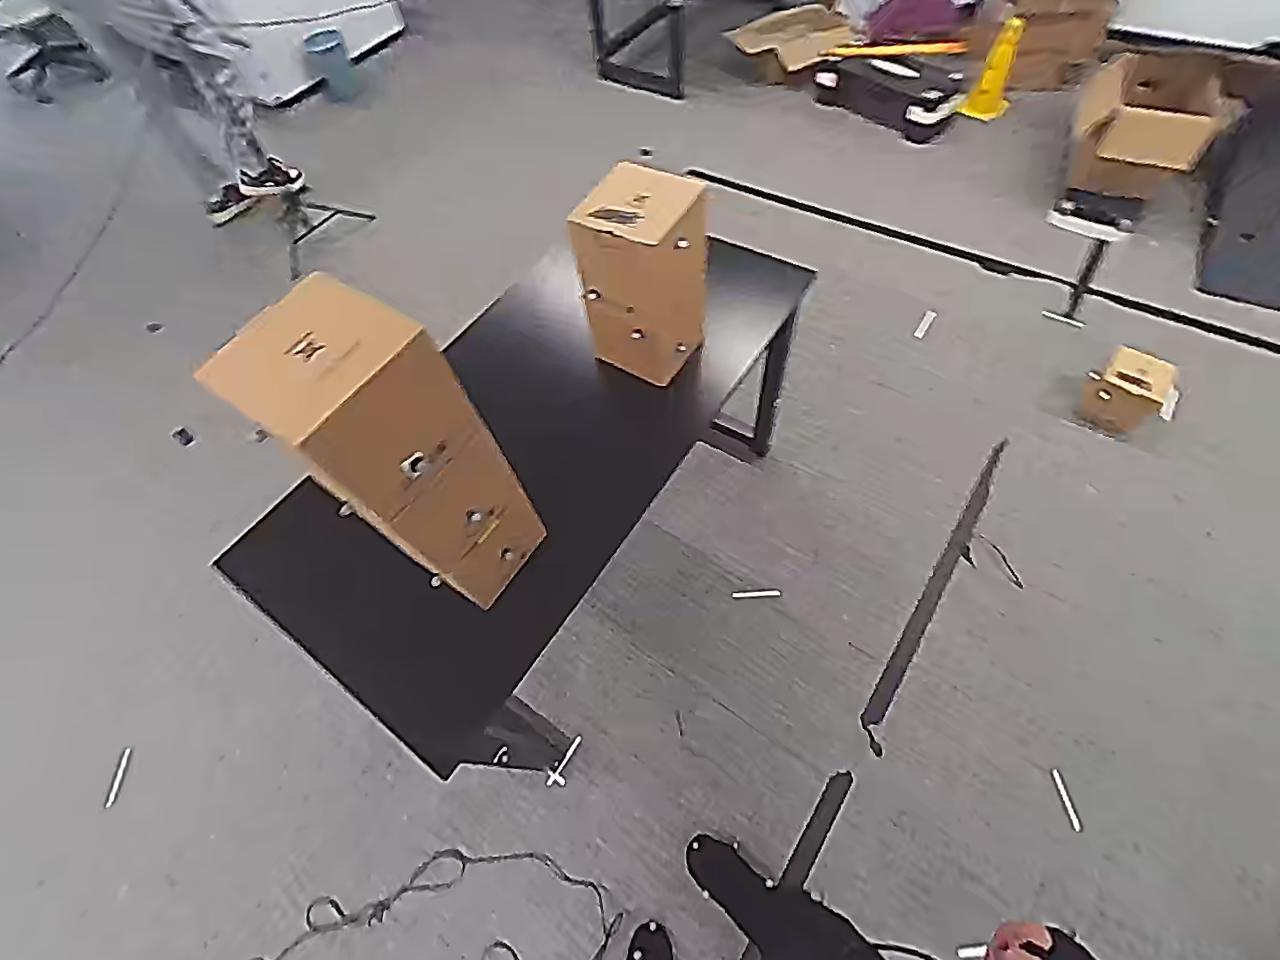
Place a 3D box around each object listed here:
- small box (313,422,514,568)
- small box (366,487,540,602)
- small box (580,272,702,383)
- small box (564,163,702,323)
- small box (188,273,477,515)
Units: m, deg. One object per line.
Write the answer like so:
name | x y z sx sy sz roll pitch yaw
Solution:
small box | -0.303 -0.005 0.732 0.179 0.176 0.168 28 67 20
small box | -0.287 0.078 0.874 0.179 0.176 0.168 27 66 19
small box | 0.008 -0.323 1.076 0.179 0.176 0.168 28 67 20
small box | -0.002 -0.402 0.932 0.168 0.176 0.179 25 65 18
small box | -0.316 -0.087 0.592 0.179 0.176 0.168 27 68 19
